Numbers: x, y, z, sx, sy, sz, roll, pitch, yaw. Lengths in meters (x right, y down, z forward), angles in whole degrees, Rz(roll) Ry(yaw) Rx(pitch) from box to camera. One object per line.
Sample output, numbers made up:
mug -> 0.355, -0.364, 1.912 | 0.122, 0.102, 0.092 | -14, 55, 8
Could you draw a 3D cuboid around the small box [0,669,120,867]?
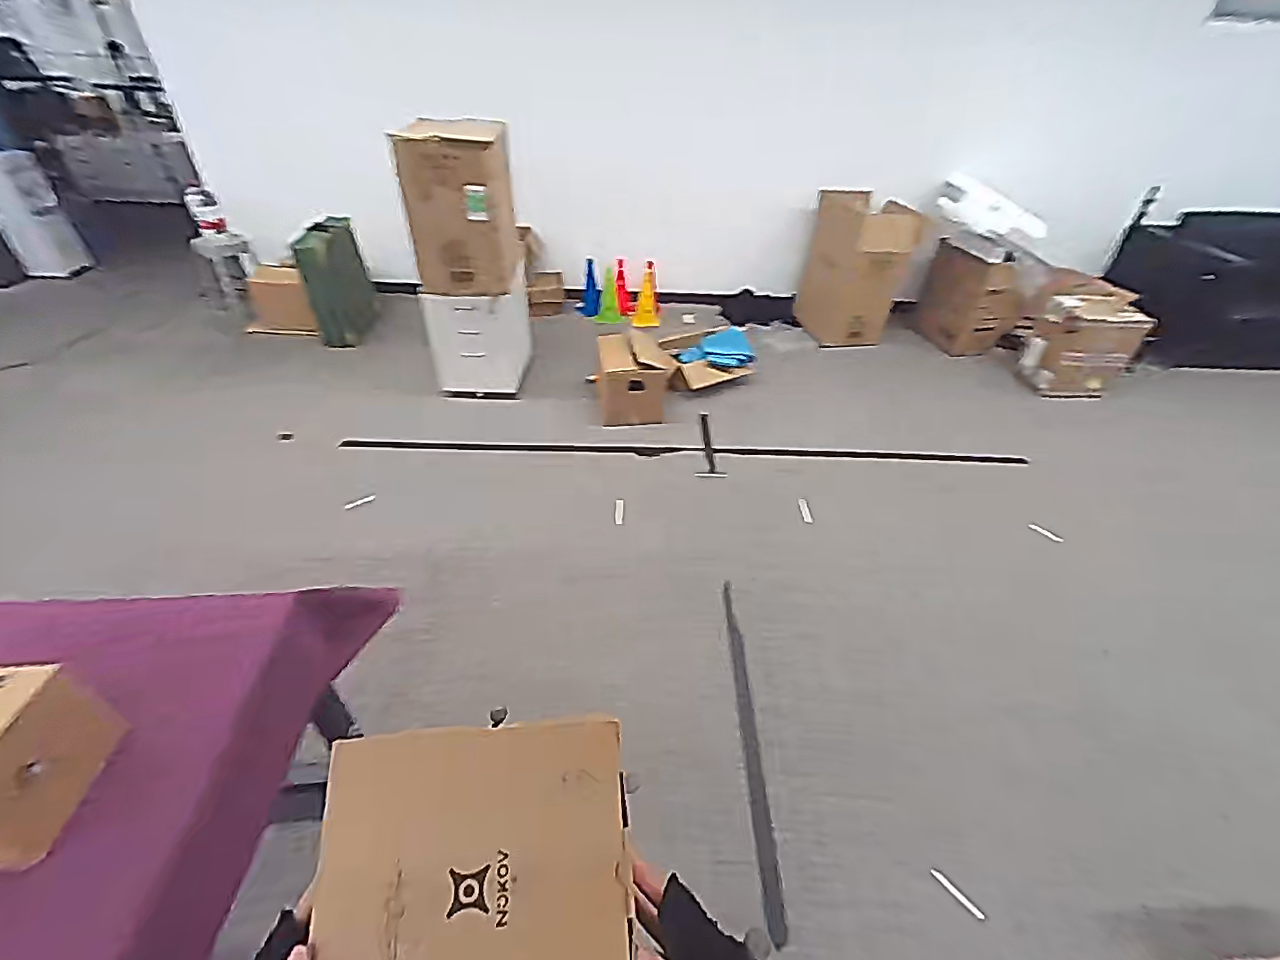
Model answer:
small box -> -0.819, 0.361, 0.669 | 0.168, 0.176, 0.179 | -2, 40, -5
